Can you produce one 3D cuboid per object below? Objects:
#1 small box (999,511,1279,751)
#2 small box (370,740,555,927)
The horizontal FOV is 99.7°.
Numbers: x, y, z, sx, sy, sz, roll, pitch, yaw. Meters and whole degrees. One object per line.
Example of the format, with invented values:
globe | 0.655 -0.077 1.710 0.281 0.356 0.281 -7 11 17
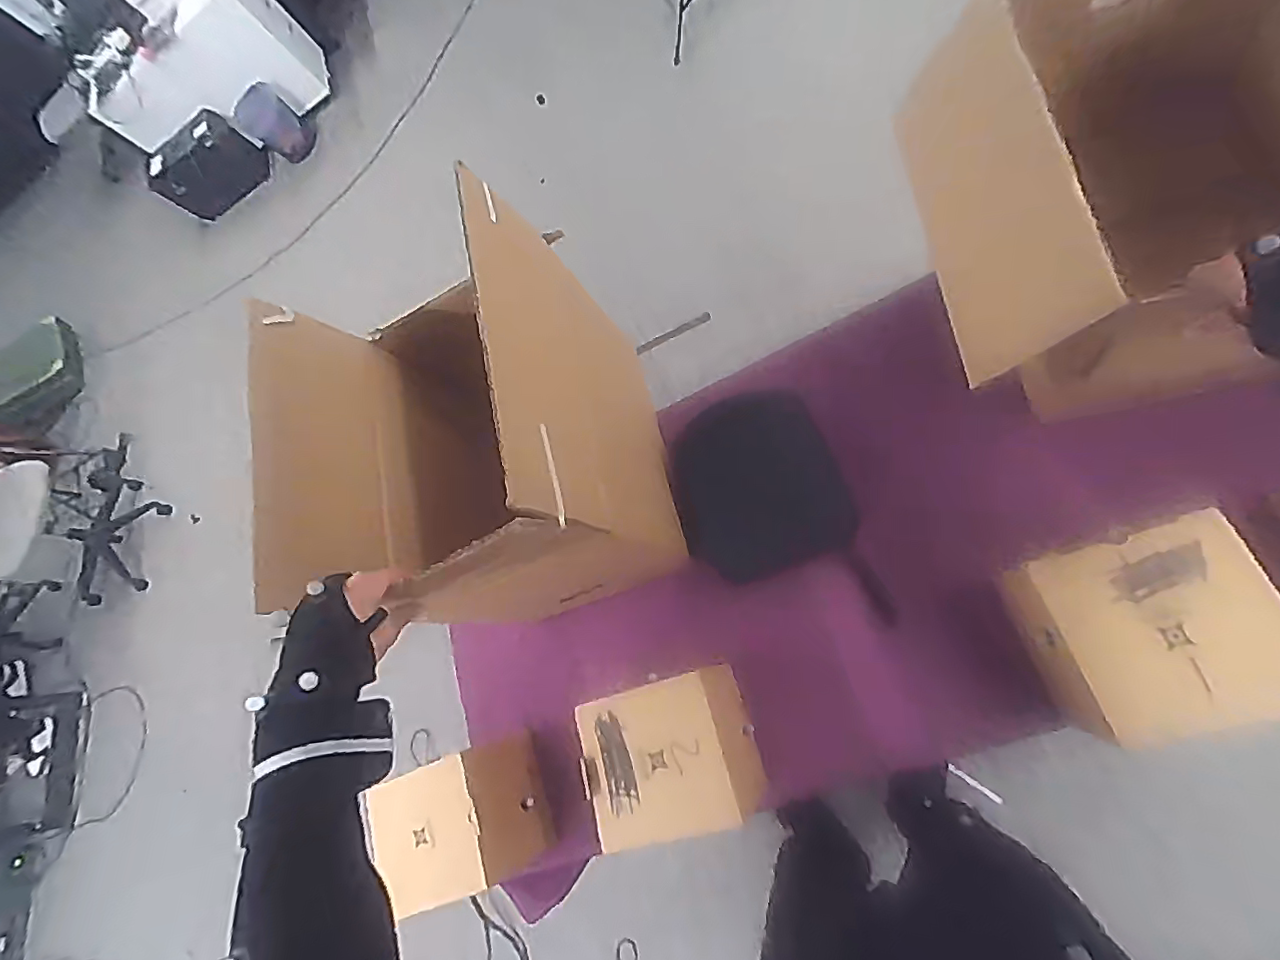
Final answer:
small box | 0.505 0.154 0.554 0.168 0.176 0.179 -23 68 17
small box | -0.253 0.499 0.787 0.179 0.176 0.168 -28 66 13
